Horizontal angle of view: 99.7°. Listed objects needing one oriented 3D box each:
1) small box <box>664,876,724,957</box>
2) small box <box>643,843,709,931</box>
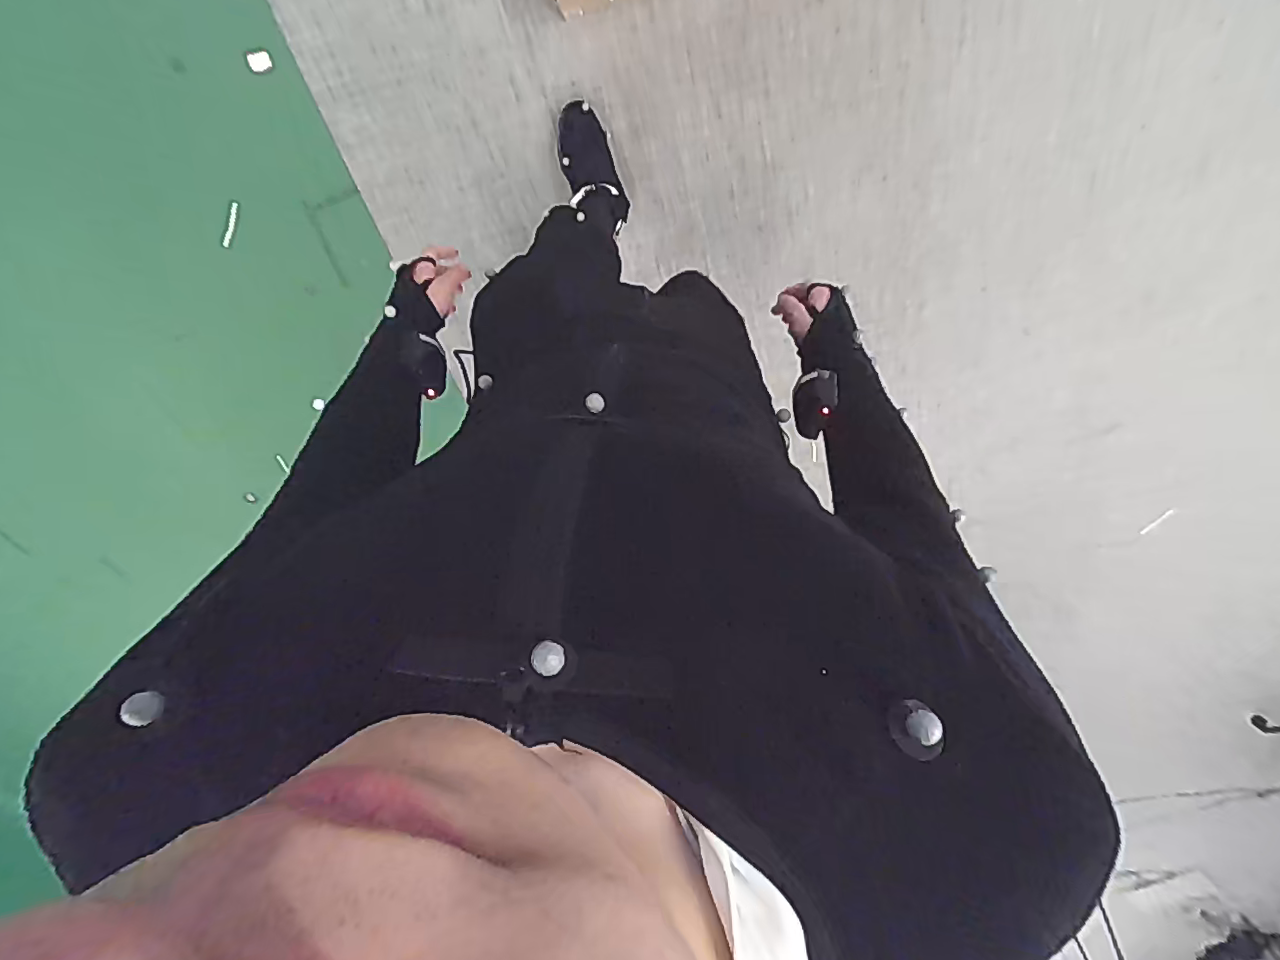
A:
[{"bbox_3d":[0.176,1.462,1.815,0.168,0.176,0.179,-15,123,7],"label":"small box"},{"bbox_3d":[0.110,1.254,1.670,0.168,0.176,0.179,-14,125,5],"label":"small box"}]
